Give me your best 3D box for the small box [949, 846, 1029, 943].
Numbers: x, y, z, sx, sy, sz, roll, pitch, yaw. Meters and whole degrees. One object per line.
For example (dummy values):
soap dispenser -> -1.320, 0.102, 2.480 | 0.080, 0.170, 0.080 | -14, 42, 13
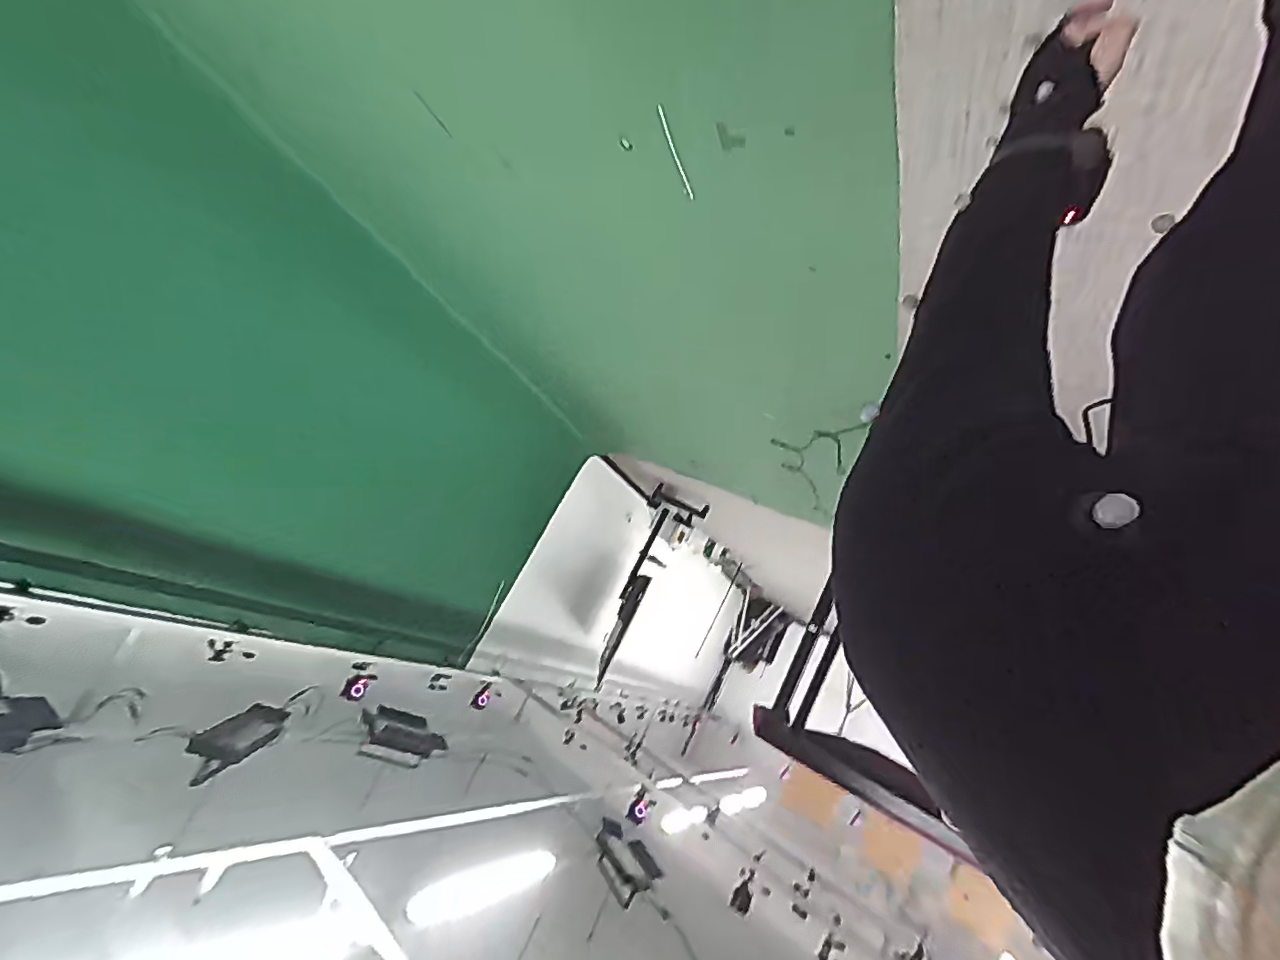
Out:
small box -> 1.111, 1.310, 1.725 | 0.168, 0.176, 0.179 | 22, 168, 31

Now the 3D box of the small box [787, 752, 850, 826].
small box -> 0.675, 1.150, 2.024 | 0.179, 0.176, 0.168 | 20, 167, 32
